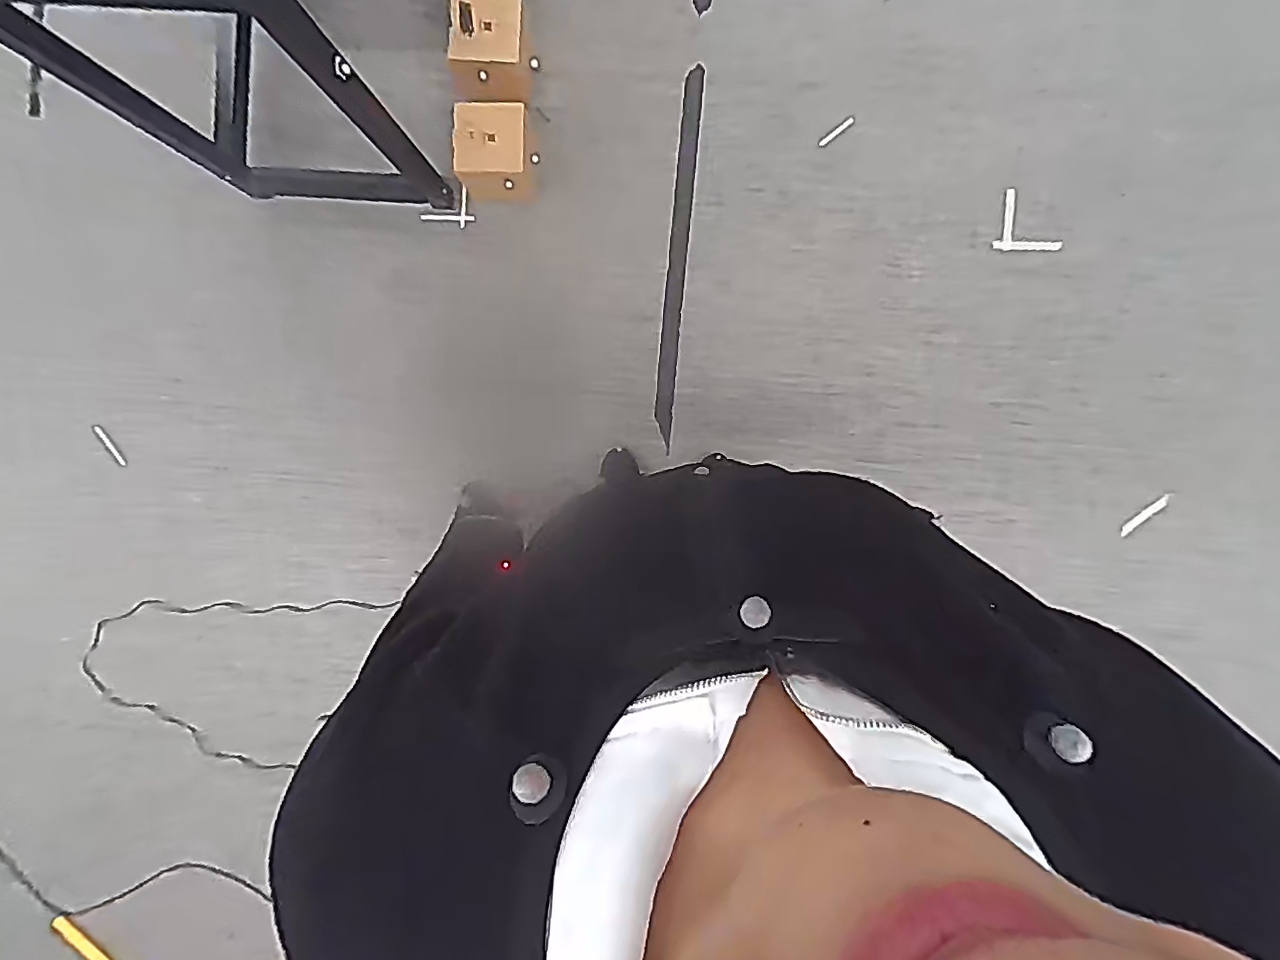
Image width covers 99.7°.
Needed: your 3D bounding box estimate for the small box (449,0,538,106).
[{"bbox_3d":[-0.371,-1.095,1.386,0.179,0.176,0.168,4,94,1],"label":"small box"}]
